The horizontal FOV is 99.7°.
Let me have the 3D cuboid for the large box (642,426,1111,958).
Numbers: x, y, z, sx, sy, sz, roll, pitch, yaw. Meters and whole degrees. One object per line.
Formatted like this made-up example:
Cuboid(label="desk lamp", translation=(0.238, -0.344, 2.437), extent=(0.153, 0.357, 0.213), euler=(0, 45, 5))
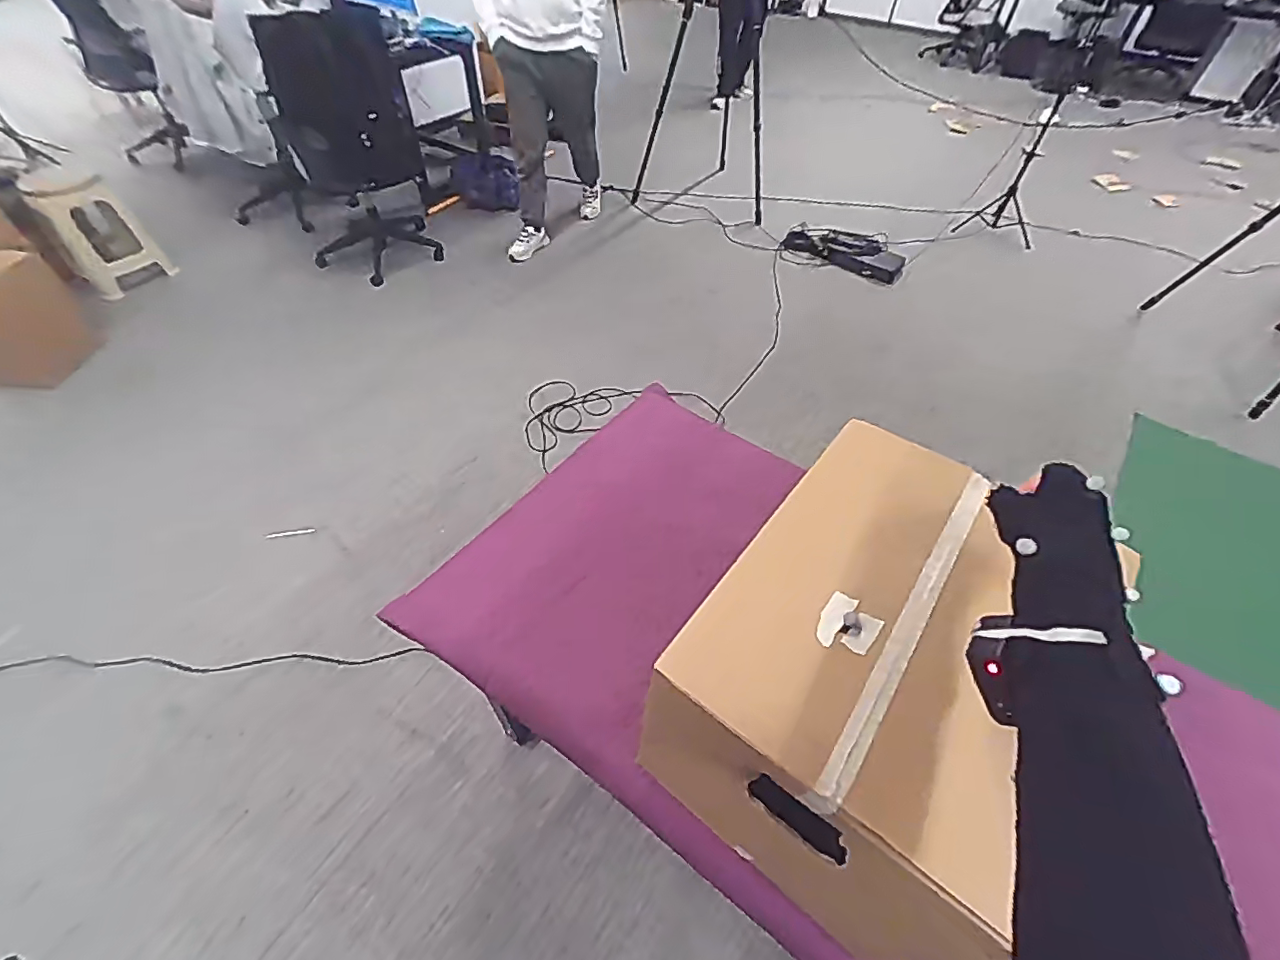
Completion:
Cuboid(label="large box", translation=(0.246, 0.217, 0.629), extent=(0.320, 0.320, 0.408), euler=(33, 56, 22))
